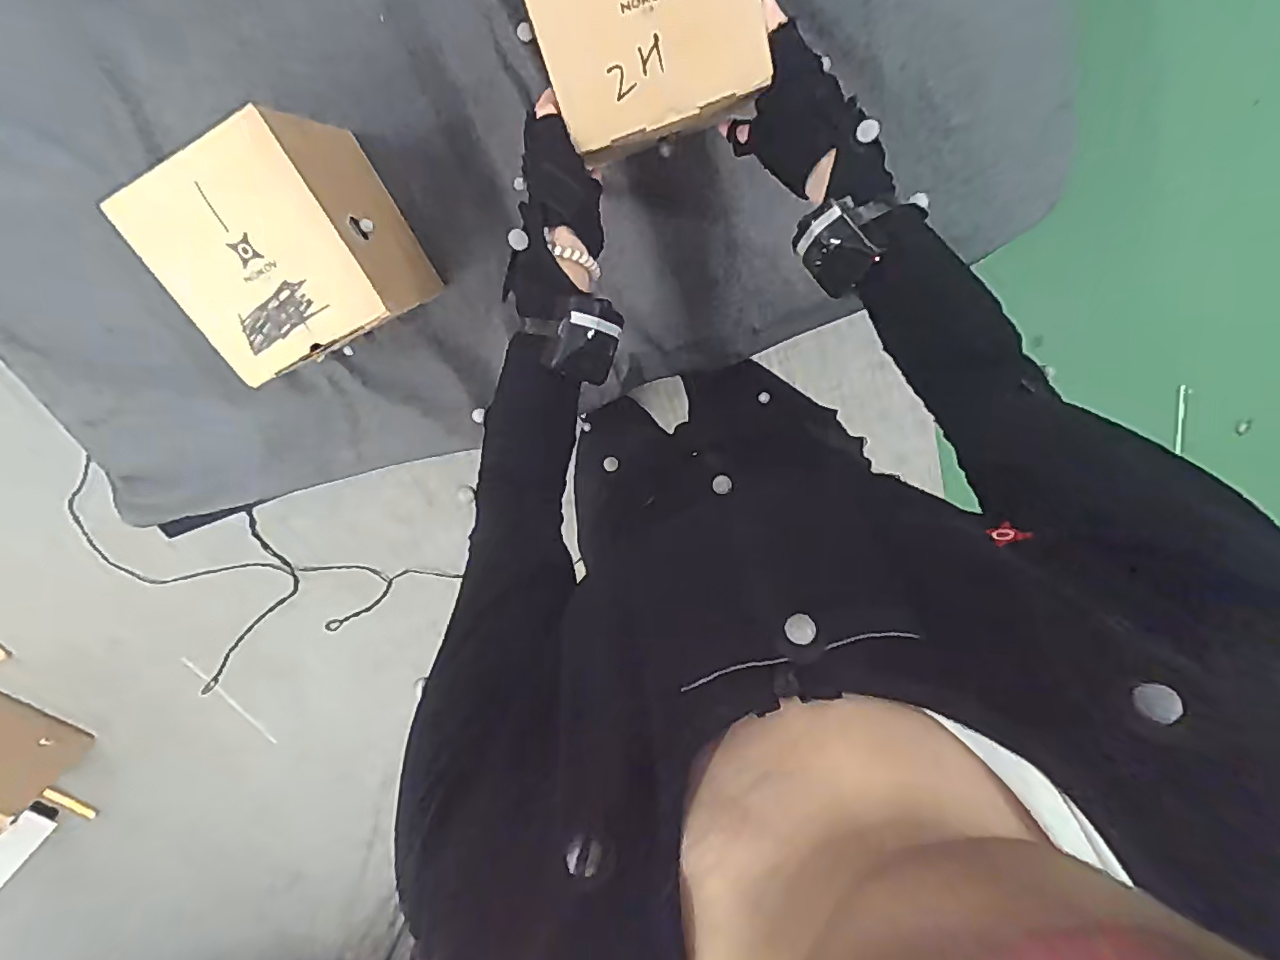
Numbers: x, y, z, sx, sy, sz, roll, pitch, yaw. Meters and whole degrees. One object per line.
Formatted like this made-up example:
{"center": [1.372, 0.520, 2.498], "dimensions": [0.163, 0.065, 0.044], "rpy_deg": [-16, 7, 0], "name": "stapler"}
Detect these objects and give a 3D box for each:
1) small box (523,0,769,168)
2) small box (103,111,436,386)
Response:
{"center": [-0.004, -0.390, 0.459], "dimensions": [0.168, 0.176, 0.179], "rpy_deg": [-16, 115, 8], "name": "small box"}
{"center": [-0.336, -0.224, 0.538], "dimensions": [0.168, 0.176, 0.179], "rpy_deg": [-23, 114, 10], "name": "small box"}
